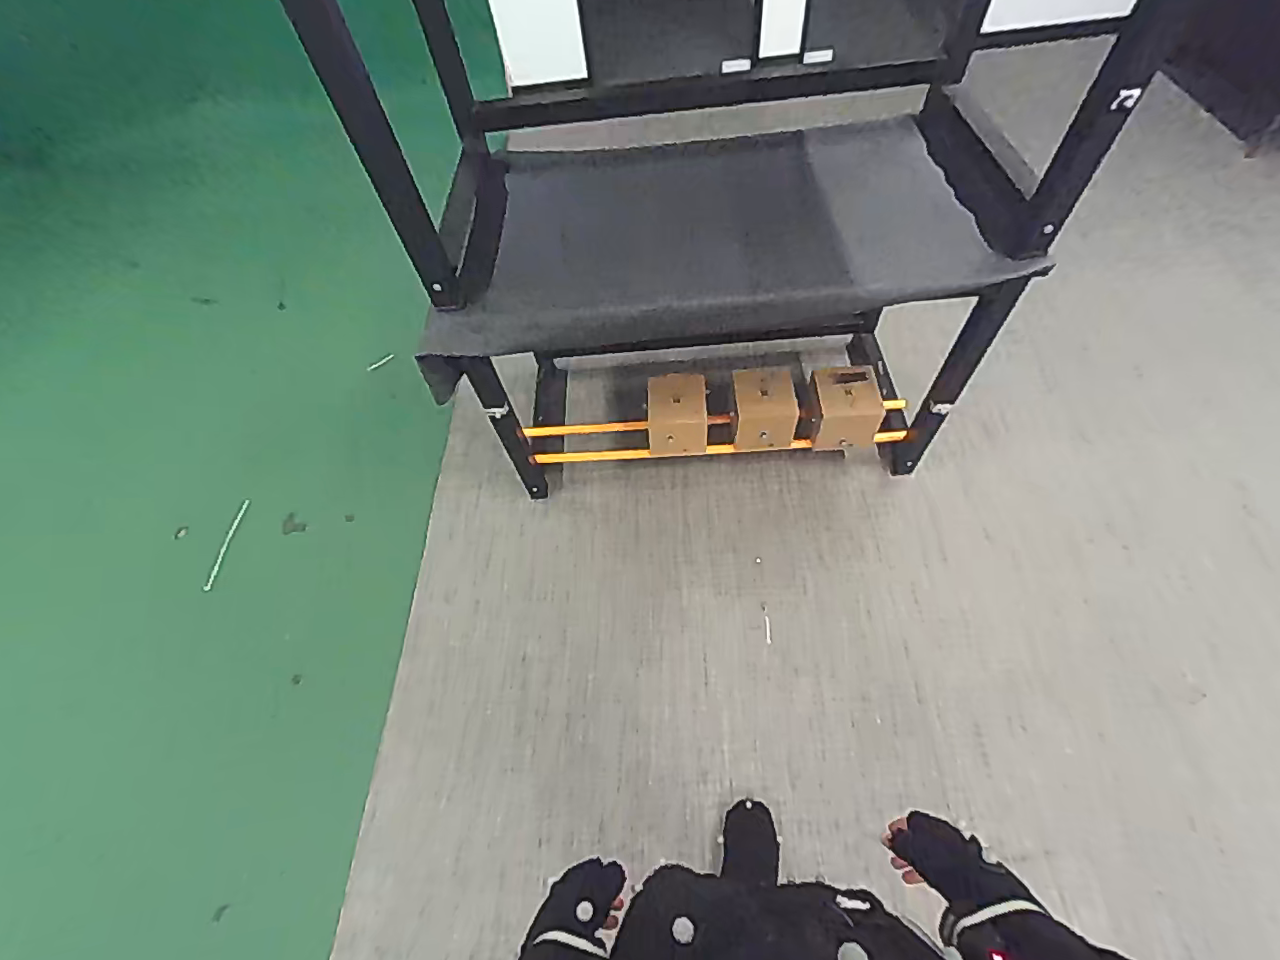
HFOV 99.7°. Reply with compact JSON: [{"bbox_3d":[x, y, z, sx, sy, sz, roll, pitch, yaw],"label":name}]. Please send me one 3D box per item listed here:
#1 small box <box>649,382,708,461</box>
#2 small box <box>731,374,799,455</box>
[{"bbox_3d":[0.114,-0.166,1.596,0.168,0.176,0.179,-2,58,3],"label":"small box"},{"bbox_3d":[0.360,-0.186,1.582,0.168,0.176,0.179,-4,57,3],"label":"small box"}]
